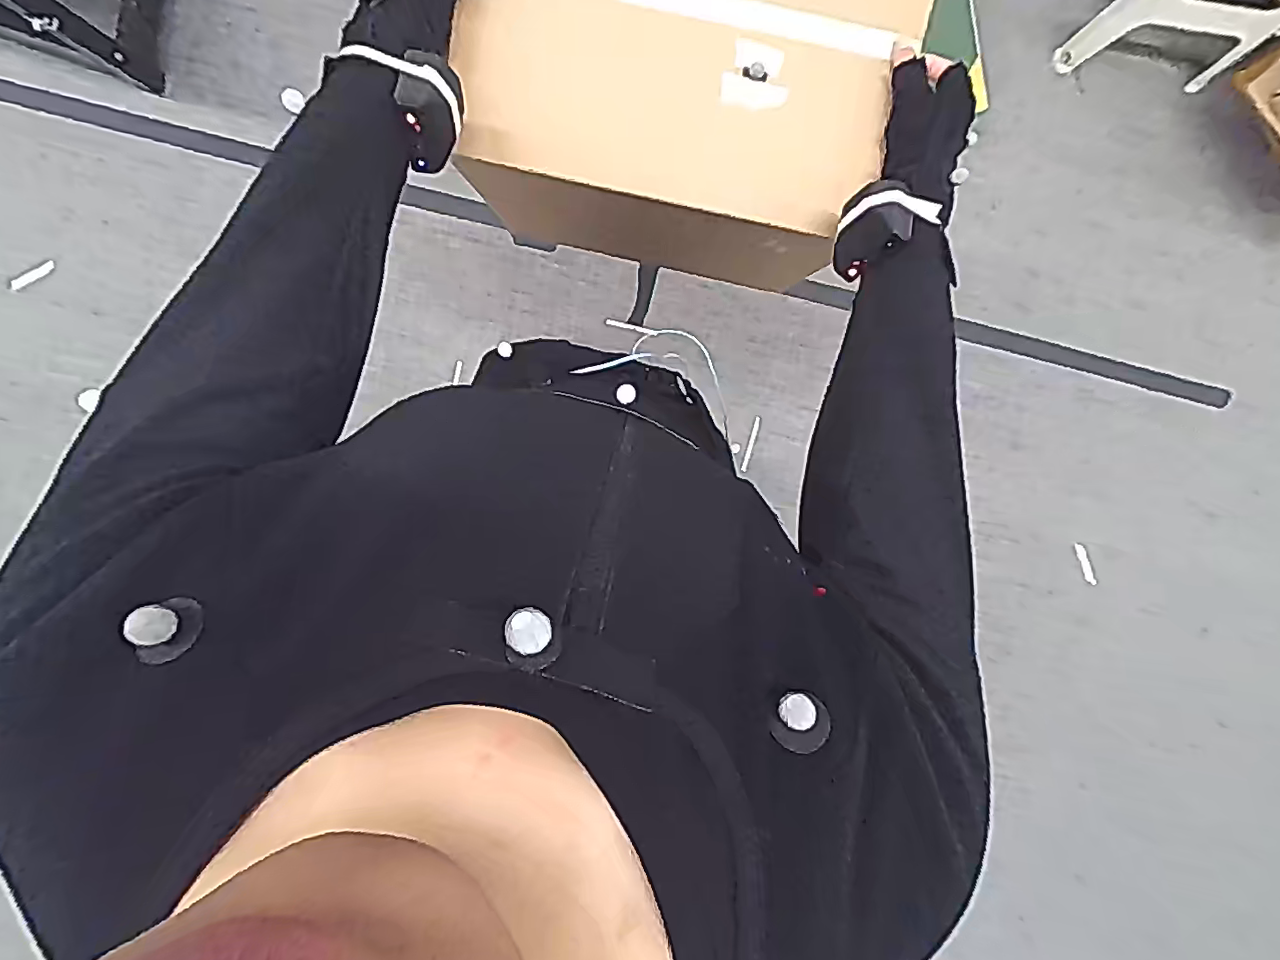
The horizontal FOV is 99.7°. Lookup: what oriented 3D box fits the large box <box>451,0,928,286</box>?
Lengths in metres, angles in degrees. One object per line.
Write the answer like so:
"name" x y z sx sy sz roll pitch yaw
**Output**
"large box" 0.045 -0.440 0.620 0.408 0.320 0.320 12 102 -3
